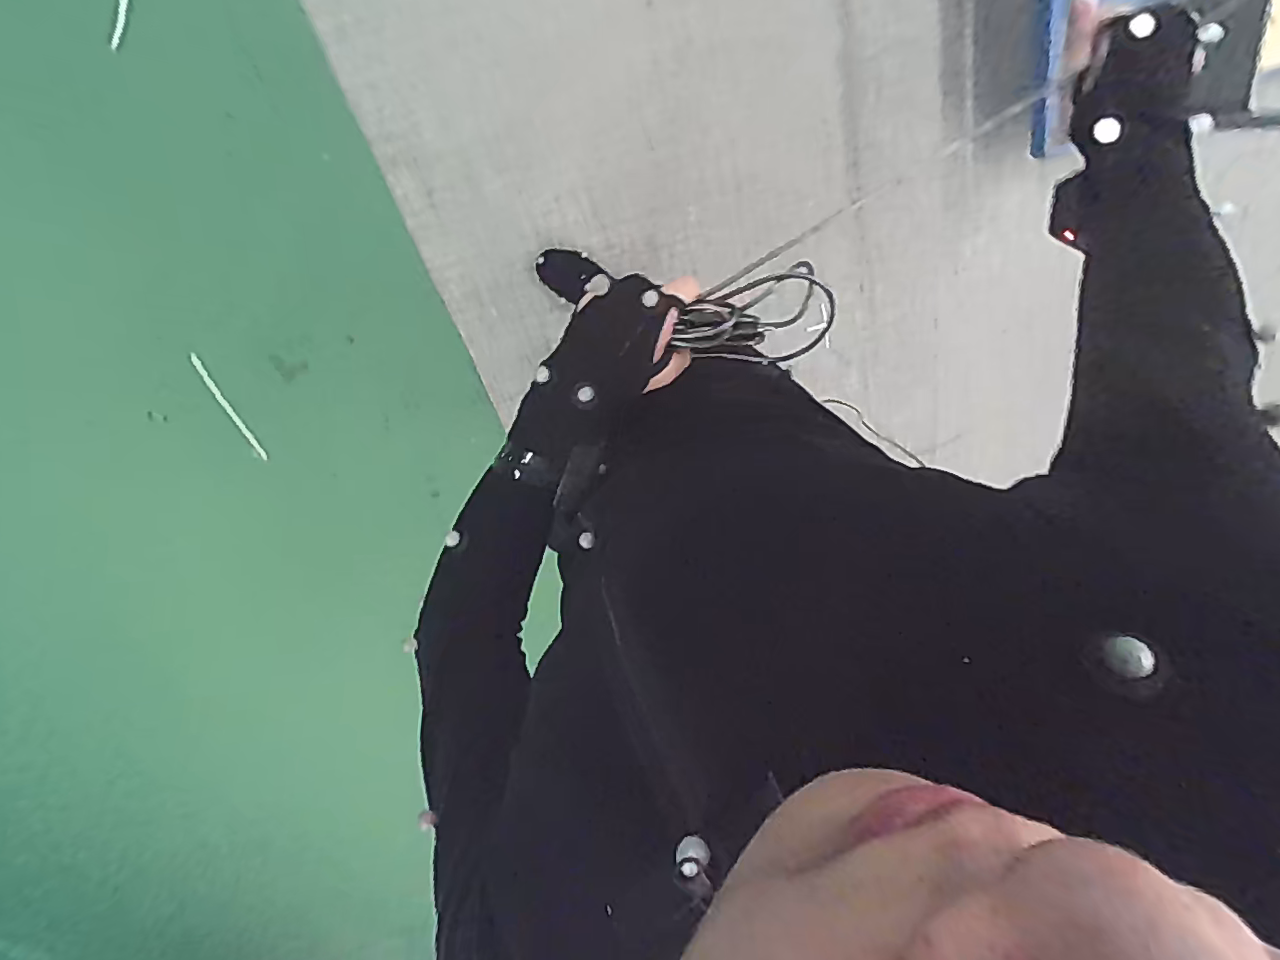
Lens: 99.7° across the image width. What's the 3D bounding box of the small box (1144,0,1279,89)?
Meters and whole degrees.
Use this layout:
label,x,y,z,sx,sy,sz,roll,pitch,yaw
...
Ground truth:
label,x,y,z,sx,sy,sz,roll,pitch,yaw
small box,1.209,-0.935,1.111,0.179,0.176,0.168,-18,120,3
